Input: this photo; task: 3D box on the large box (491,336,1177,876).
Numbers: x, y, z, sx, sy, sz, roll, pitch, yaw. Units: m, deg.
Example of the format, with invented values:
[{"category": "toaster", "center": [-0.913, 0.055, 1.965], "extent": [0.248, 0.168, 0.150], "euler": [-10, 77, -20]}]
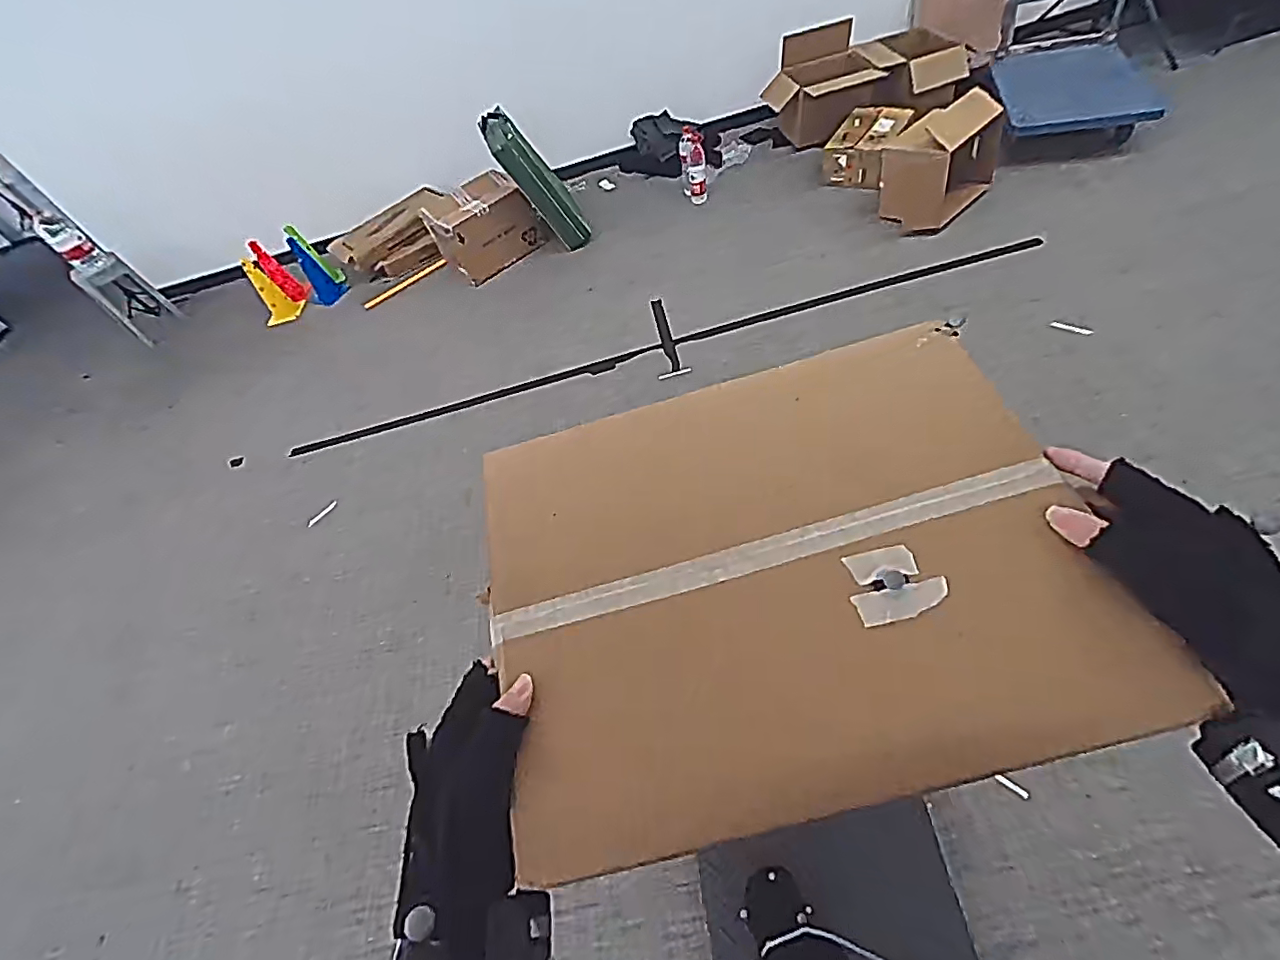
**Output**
[{"category": "large box", "center": [0.116, 0.130, 0.522], "extent": [0.408, 0.320, 0.320], "euler": [-17, 59, 2]}]
